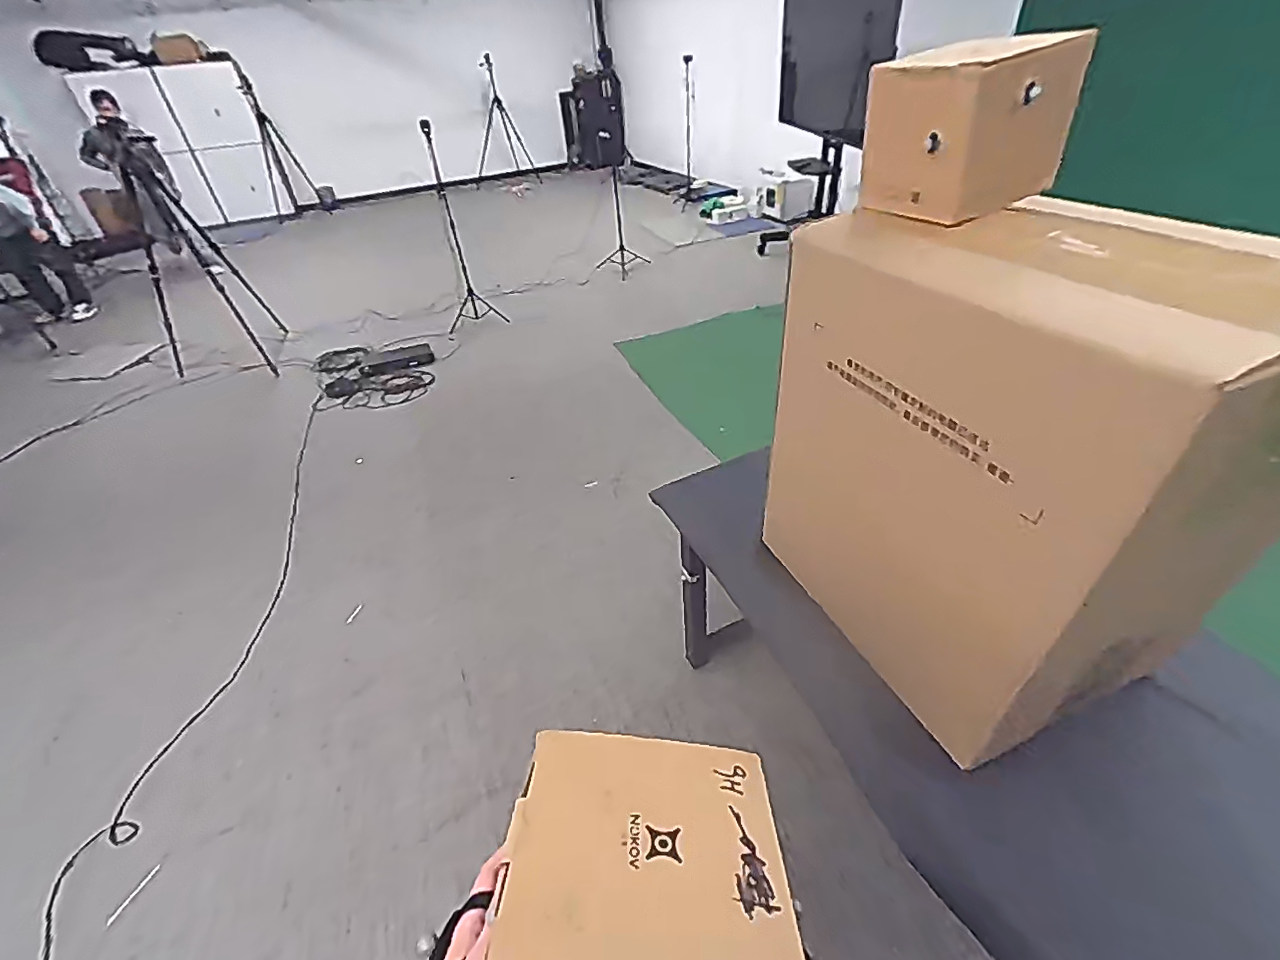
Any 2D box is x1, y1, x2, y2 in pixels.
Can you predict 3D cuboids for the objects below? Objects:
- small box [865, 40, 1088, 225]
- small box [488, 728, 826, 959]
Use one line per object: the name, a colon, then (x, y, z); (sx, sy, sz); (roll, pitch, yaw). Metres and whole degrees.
small box: (0.418, -0.449, 0.707); (0.179, 0.176, 0.168); (-22, 41, -15)
small box: (0.004, 0.299, 0.360); (0.179, 0.176, 0.168); (7, 19, -2)
